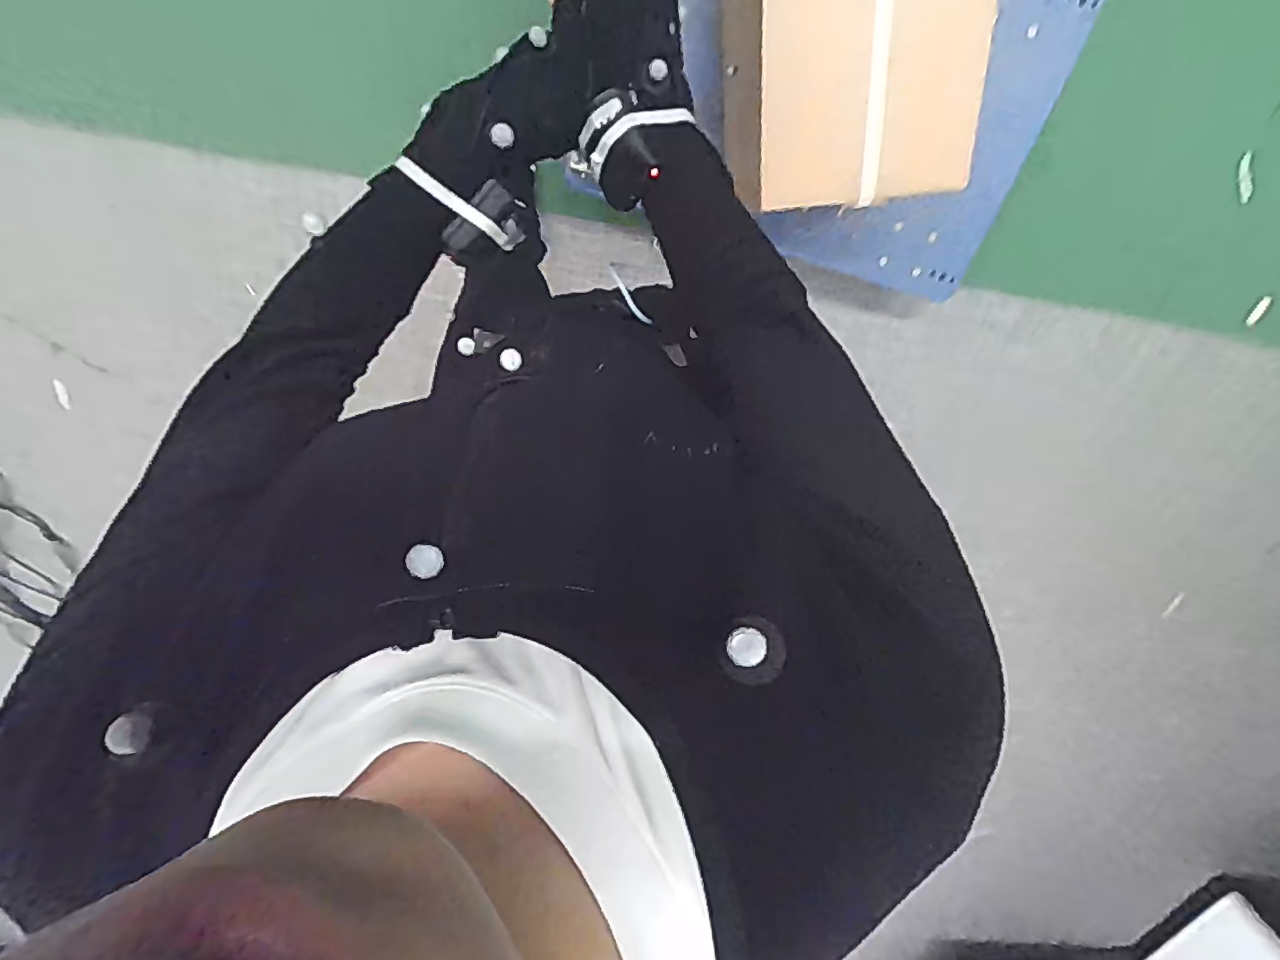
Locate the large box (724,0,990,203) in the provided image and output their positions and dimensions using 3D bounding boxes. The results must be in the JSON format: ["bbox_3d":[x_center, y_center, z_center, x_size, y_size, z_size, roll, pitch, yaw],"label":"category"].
[{"bbox_3d":[0.308,-0.676,0.851,0.320,0.320,0.408,-5,118,0],"label":"large box"}]
